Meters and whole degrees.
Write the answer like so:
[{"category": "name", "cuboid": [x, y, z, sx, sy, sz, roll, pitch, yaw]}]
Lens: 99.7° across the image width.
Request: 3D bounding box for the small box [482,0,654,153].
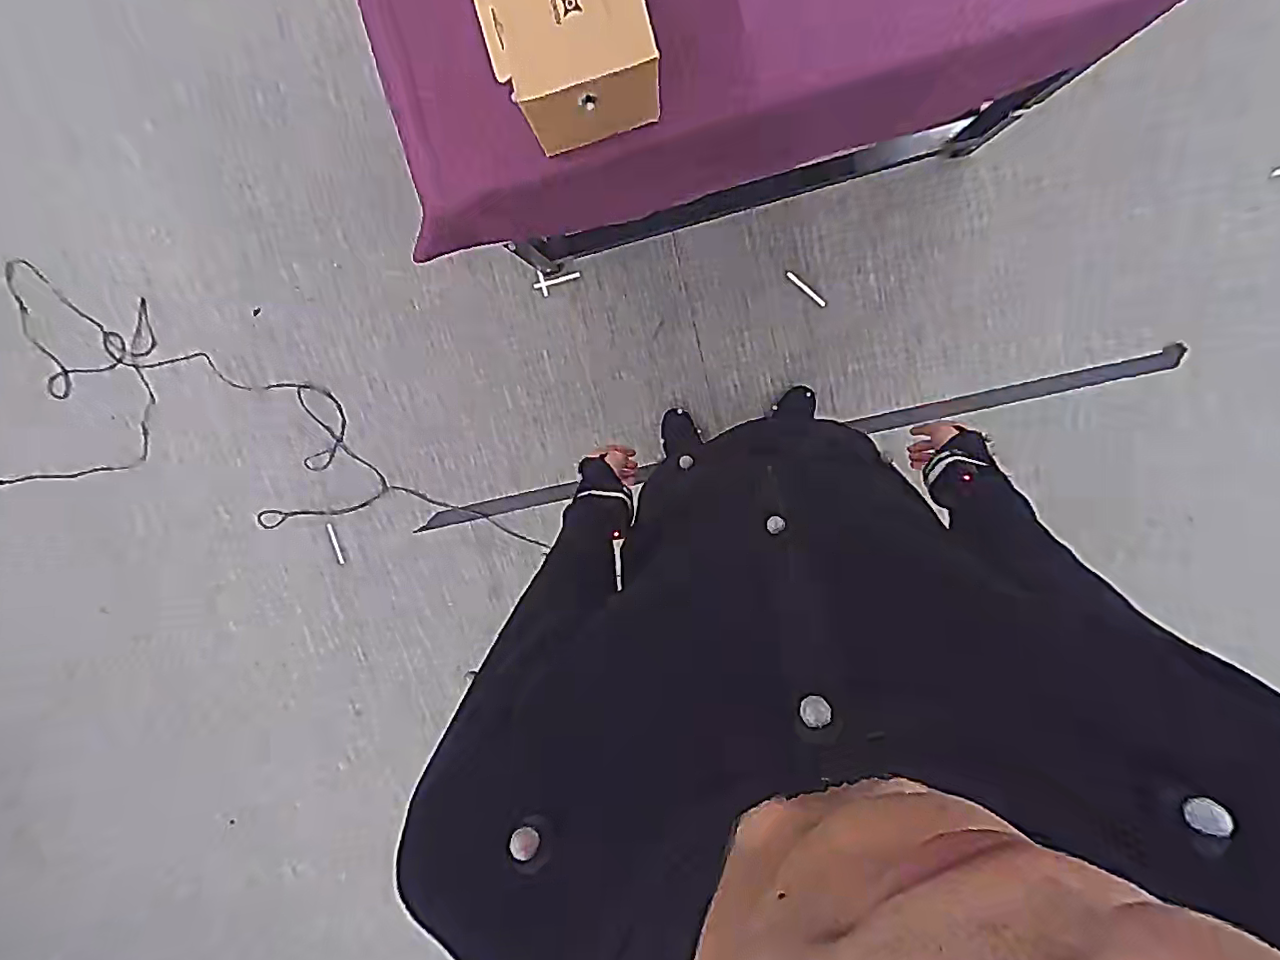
[{"category": "small box", "cuboid": [-0.084, -0.556, 0.697, 0.179, 0.176, 0.168, -15, 101, 5]}]
